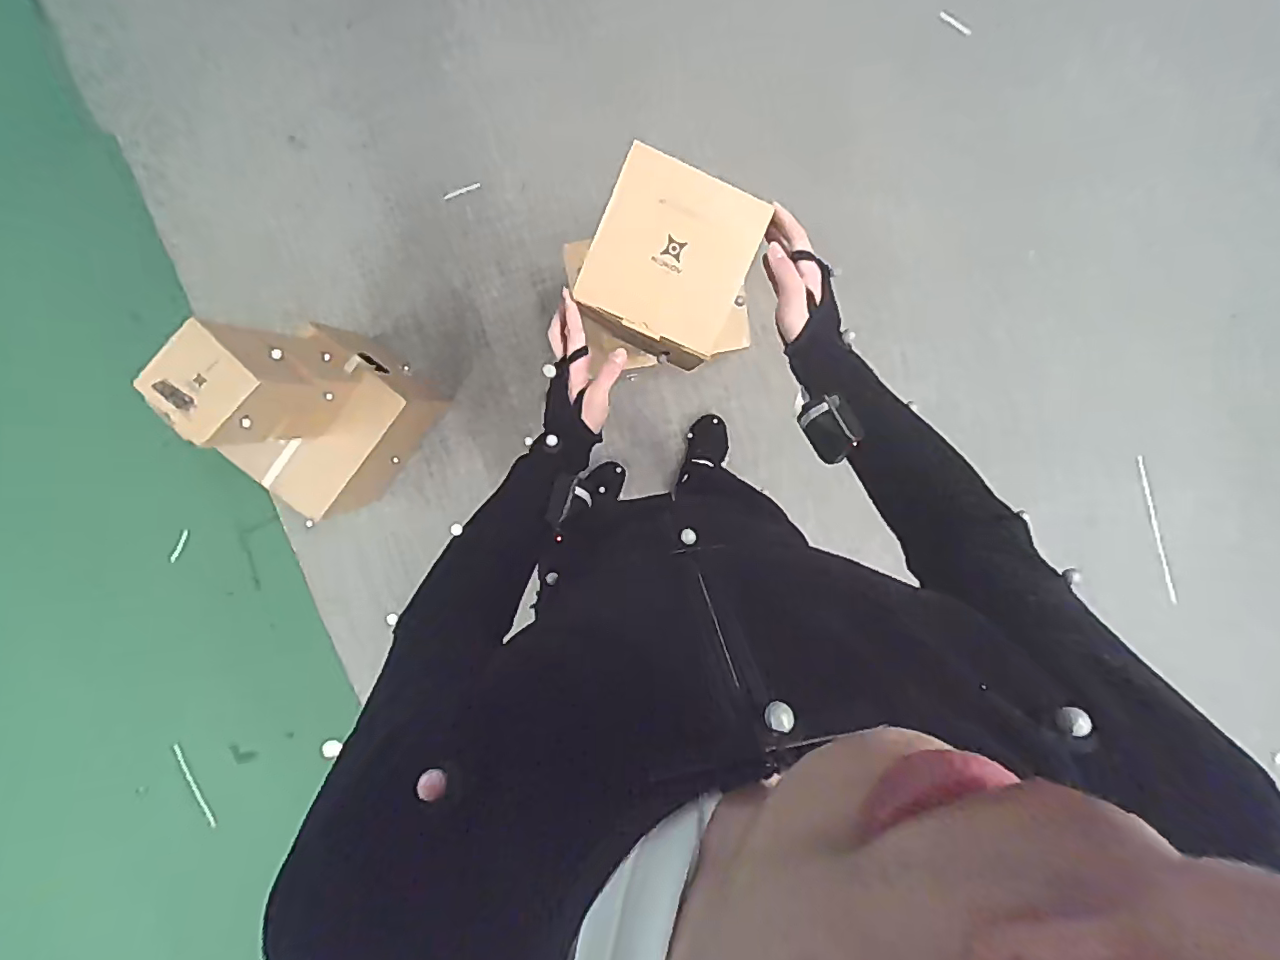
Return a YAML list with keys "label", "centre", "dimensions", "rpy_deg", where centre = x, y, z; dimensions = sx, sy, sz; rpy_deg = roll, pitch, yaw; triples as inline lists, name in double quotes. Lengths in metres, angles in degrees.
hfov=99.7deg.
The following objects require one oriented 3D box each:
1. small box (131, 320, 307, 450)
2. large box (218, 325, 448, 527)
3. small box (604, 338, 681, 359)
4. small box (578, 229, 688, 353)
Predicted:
- label: "small box"
  centre: [-0.802, -0.179, 1.050]
  dimensions: [0.179, 0.176, 0.168]
  rpy_deg: [-44, 95, 6]
- label: "large box"
  centre: [-0.803, -0.149, 1.468]
  dimensions: [0.320, 0.320, 0.408]
  rpy_deg: [39, 97, -3]
- label: "small box"
  centre: [-0.010, -0.366, 1.183]
  dimensions: [0.168, 0.176, 0.179]
  rpy_deg: [-13, 99, 2]
- label: "small box"
  centre: [-0.009, -0.343, 1.021]
  dimensions: [0.168, 0.176, 0.179]
  rpy_deg: [-13, 97, 3]
